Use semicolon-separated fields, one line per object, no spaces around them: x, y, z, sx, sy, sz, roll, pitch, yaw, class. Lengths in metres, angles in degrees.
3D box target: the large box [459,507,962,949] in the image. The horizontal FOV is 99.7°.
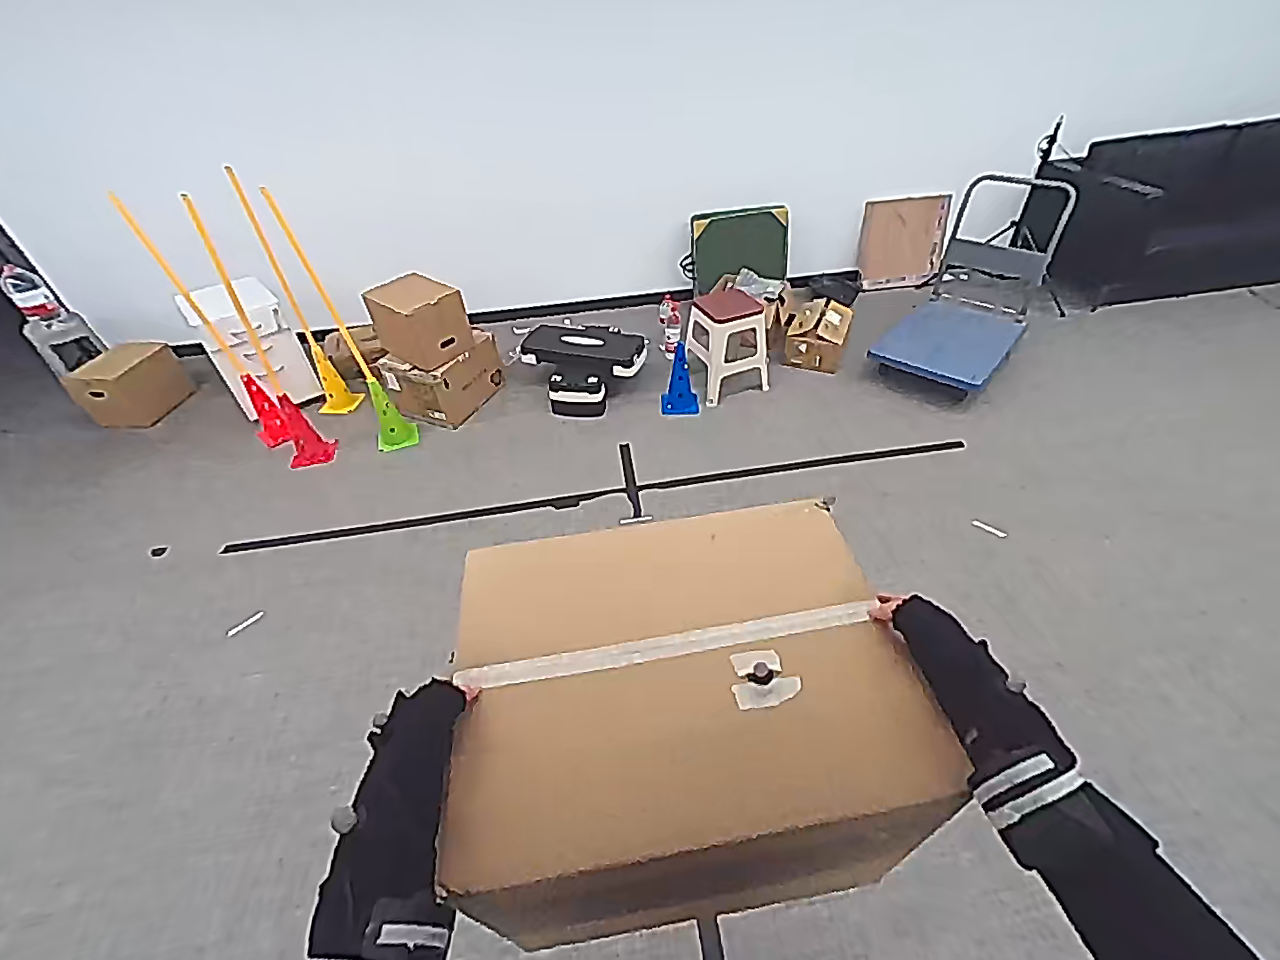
0.043;0.272;0.615;0.408;0.320;0.320;-8;44;-5;large box
